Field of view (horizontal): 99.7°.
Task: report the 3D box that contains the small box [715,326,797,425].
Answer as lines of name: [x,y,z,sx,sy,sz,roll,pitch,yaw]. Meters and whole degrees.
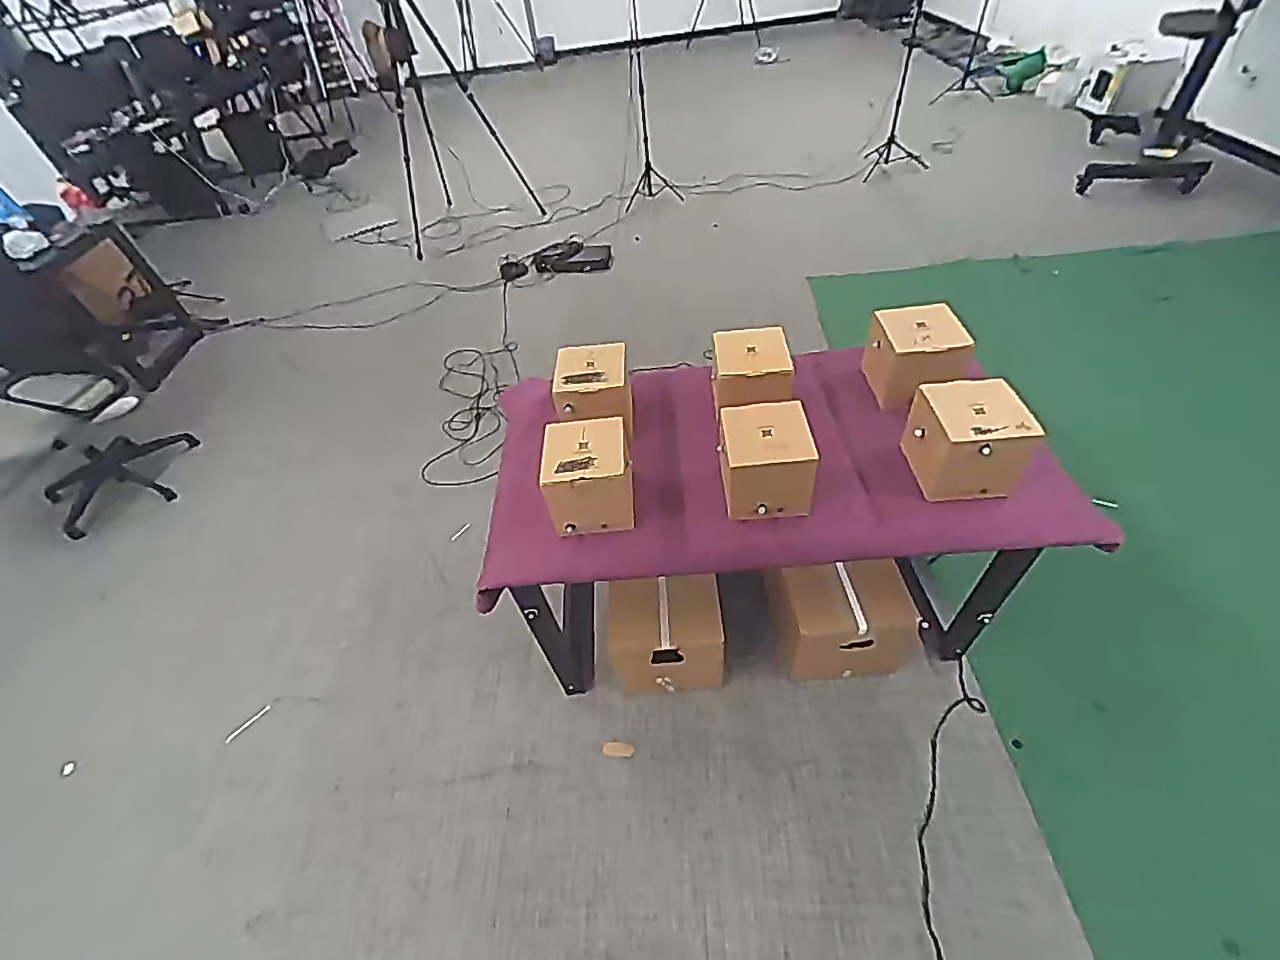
small box: [0.268,-0.243,1.289,0.168,0.176,0.179,-3,49,5]

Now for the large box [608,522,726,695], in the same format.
large box: [0.082,0.388,1.642,0.320,0.320,0.408,-5,46,4]

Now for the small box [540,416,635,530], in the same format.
small box: [-0.103,-0.009,1.128,0.168,0.176,0.179,-6,46,3]

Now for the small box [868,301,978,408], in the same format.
small box: [0.650,-0.293,1.269,0.168,0.176,0.179,-5,48,6]

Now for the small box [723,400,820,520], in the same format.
small box: [0.258,-0.040,1.104,0.168,0.176,0.179,-5,47,6]

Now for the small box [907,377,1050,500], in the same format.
small box: [0.656,-0.081,1.077,0.168,0.176,0.179,-5,45,6]
